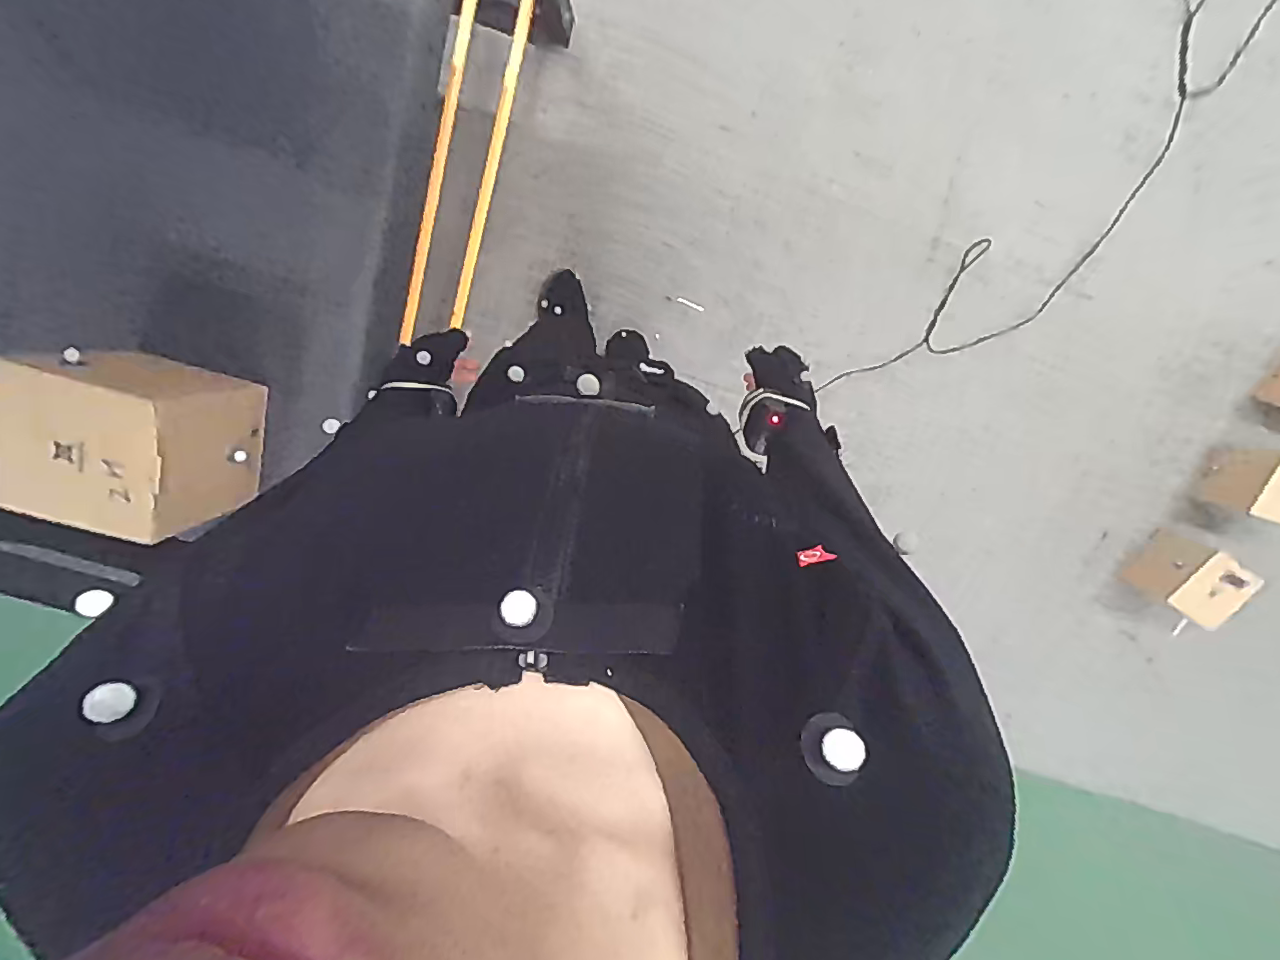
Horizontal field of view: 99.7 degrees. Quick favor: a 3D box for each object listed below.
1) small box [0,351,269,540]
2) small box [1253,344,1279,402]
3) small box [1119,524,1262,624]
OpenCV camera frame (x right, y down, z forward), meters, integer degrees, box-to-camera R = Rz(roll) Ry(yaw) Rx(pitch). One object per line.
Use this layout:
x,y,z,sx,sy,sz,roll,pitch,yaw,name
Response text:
-0.592,-0.051,0.645,0.179,0.176,0.168,15,105,-3,small box
1.696,-0.260,1.317,0.179,0.176,0.168,18,105,-4,small box
1.467,0.244,1.456,0.168,0.176,0.179,32,105,-7,small box
